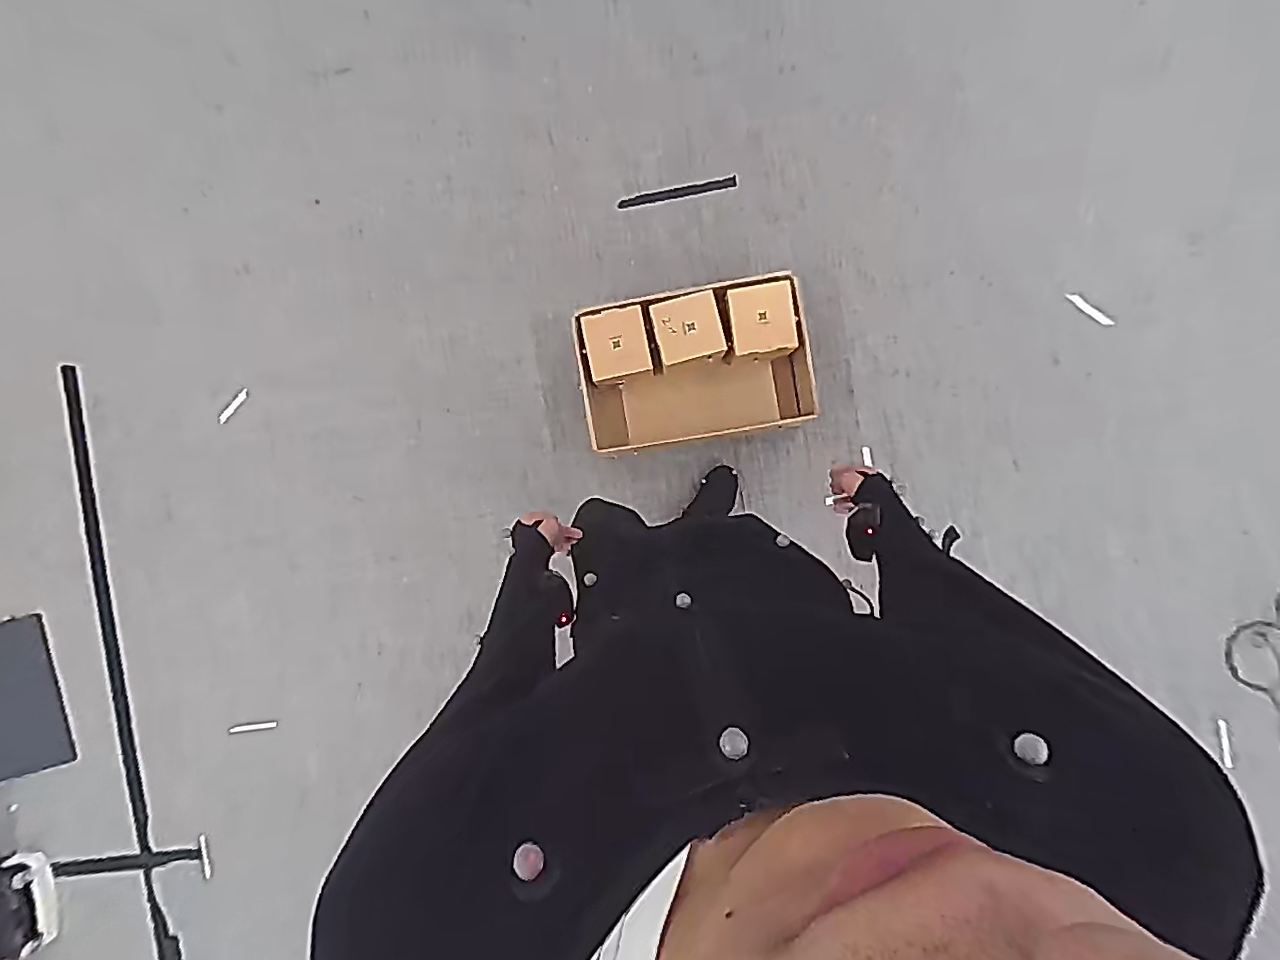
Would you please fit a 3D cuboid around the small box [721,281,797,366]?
[{"bbox_3d":[0.323,-0.426,1.494,0.168,0.176,0.179,-9,93,4],"label":"small box"}]
